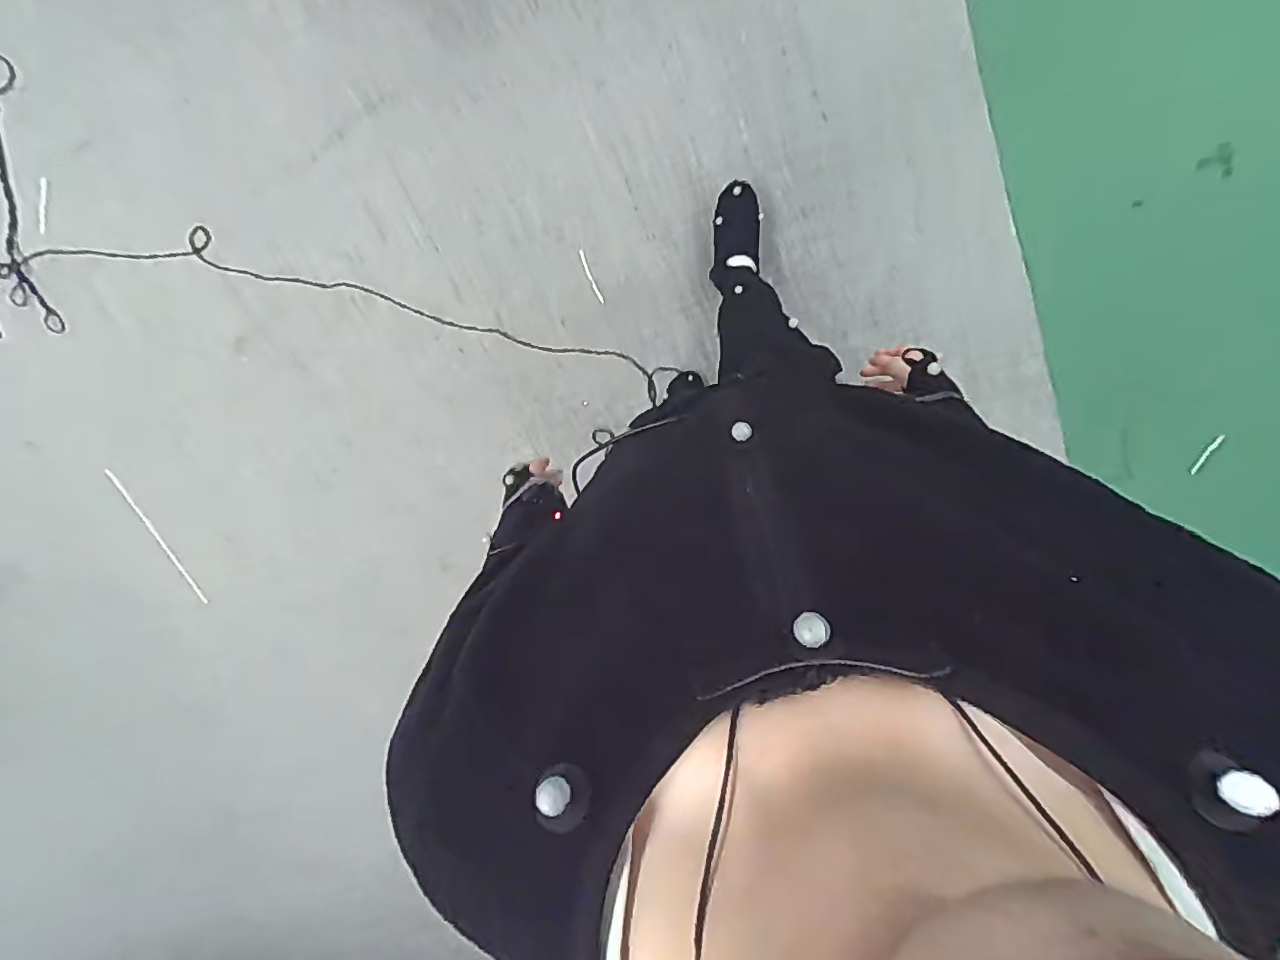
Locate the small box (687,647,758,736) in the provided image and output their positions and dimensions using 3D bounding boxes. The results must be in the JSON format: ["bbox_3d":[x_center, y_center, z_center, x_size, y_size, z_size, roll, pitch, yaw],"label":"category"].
[{"bbox_3d":[0.235,0.610,1.585,0.168,0.176,0.179,-14,106,7],"label":"small box"}]
